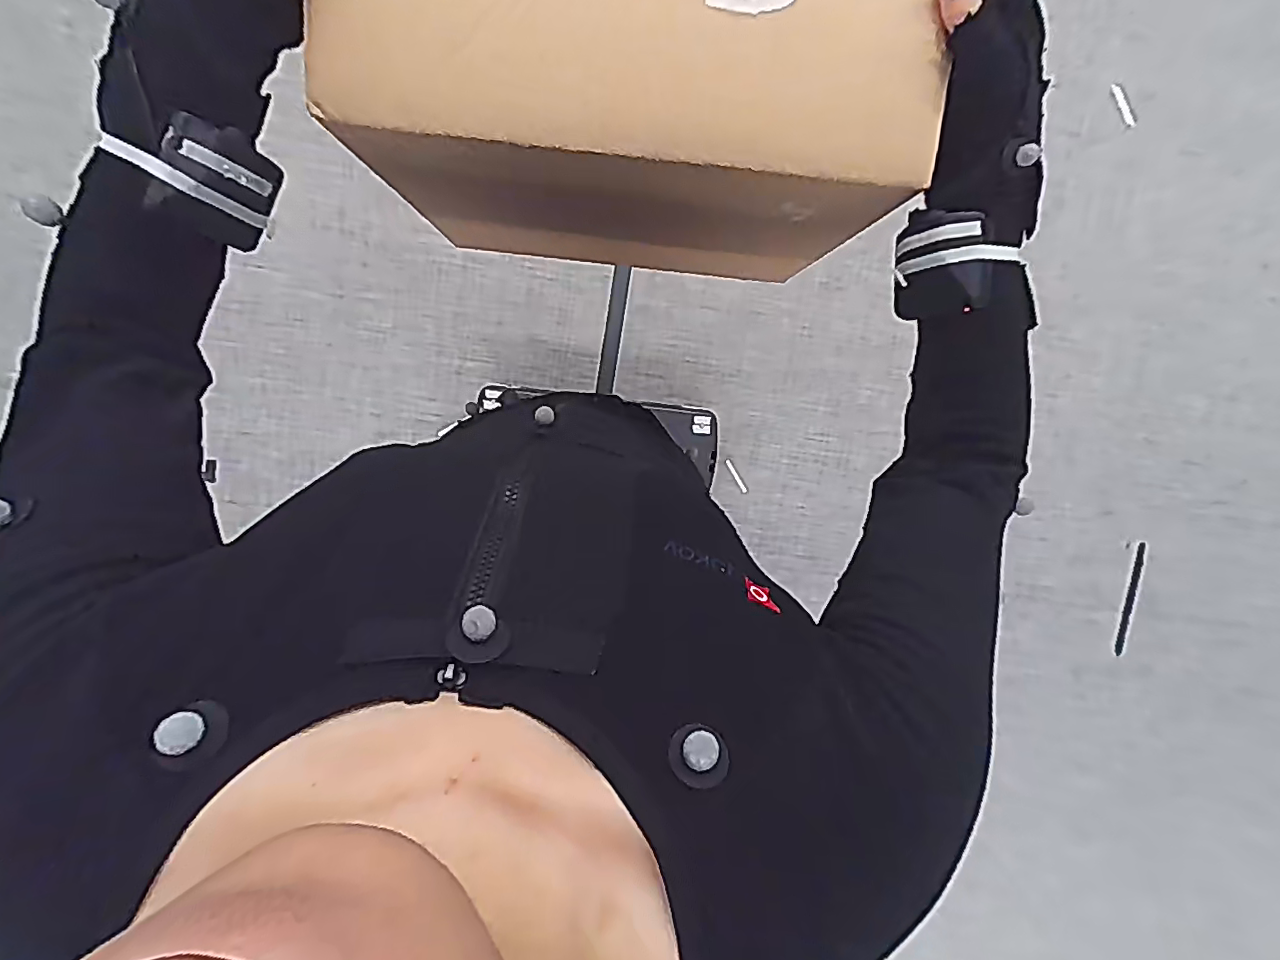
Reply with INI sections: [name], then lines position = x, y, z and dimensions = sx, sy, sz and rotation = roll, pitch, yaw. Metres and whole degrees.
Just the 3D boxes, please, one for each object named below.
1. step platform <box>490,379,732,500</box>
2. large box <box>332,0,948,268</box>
[step platform]
position = -0.081, -0.115, 1.561
dimensions = 0.684, 0.204, 0.286
rotation = 5, 97, -5
[large box]
position = 0.001, -0.397, 0.485
dimensions = 0.408, 0.320, 0.320
rotation = 4, 100, -4
